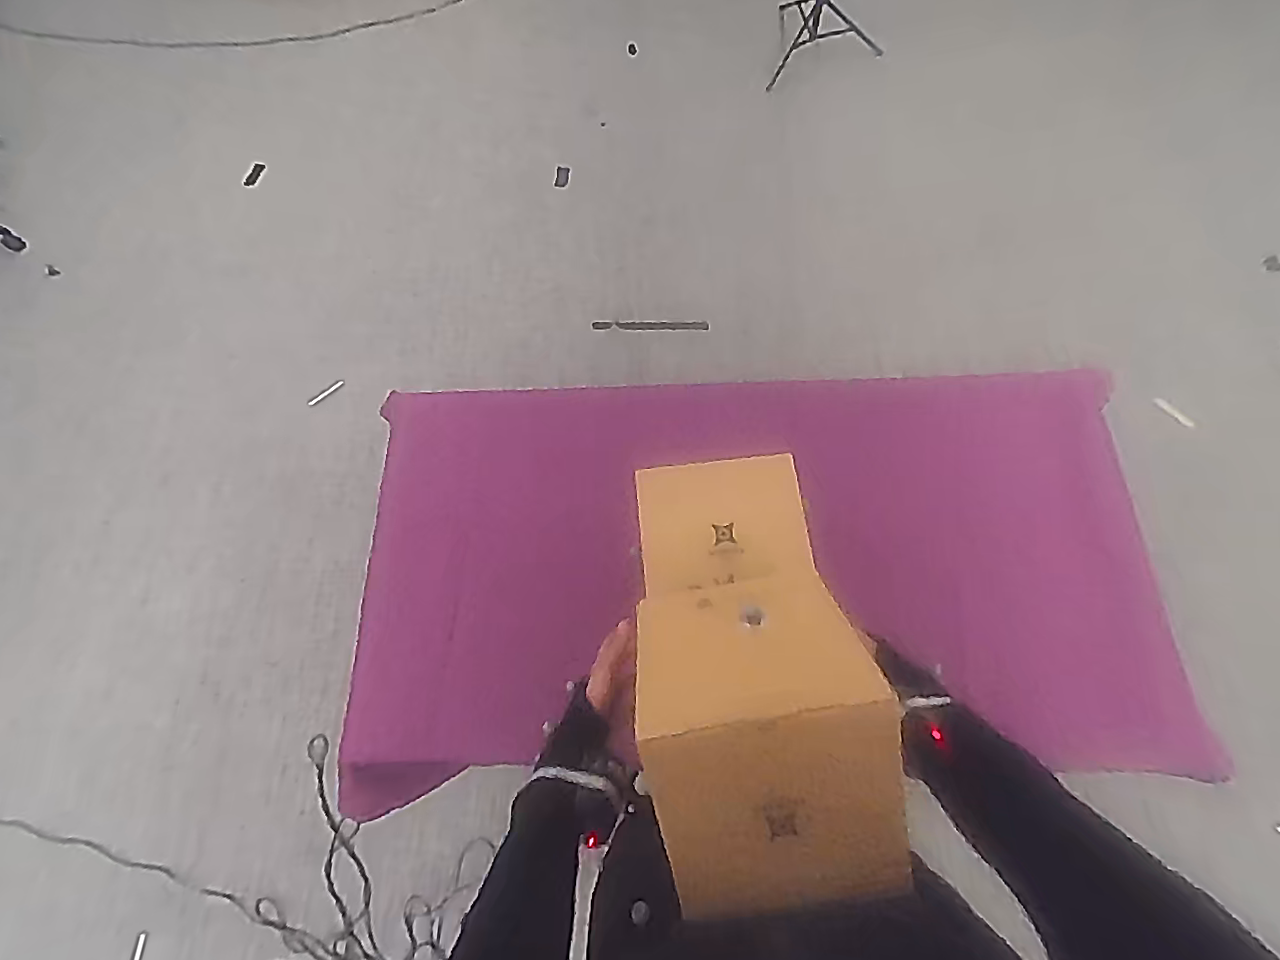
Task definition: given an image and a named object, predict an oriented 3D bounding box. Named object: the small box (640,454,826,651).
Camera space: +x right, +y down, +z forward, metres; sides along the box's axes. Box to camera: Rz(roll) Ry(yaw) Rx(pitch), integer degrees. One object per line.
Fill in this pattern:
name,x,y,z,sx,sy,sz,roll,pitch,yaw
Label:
small box,0.091,0.089,0.605,0.168,0.176,0.179,-6,69,3
